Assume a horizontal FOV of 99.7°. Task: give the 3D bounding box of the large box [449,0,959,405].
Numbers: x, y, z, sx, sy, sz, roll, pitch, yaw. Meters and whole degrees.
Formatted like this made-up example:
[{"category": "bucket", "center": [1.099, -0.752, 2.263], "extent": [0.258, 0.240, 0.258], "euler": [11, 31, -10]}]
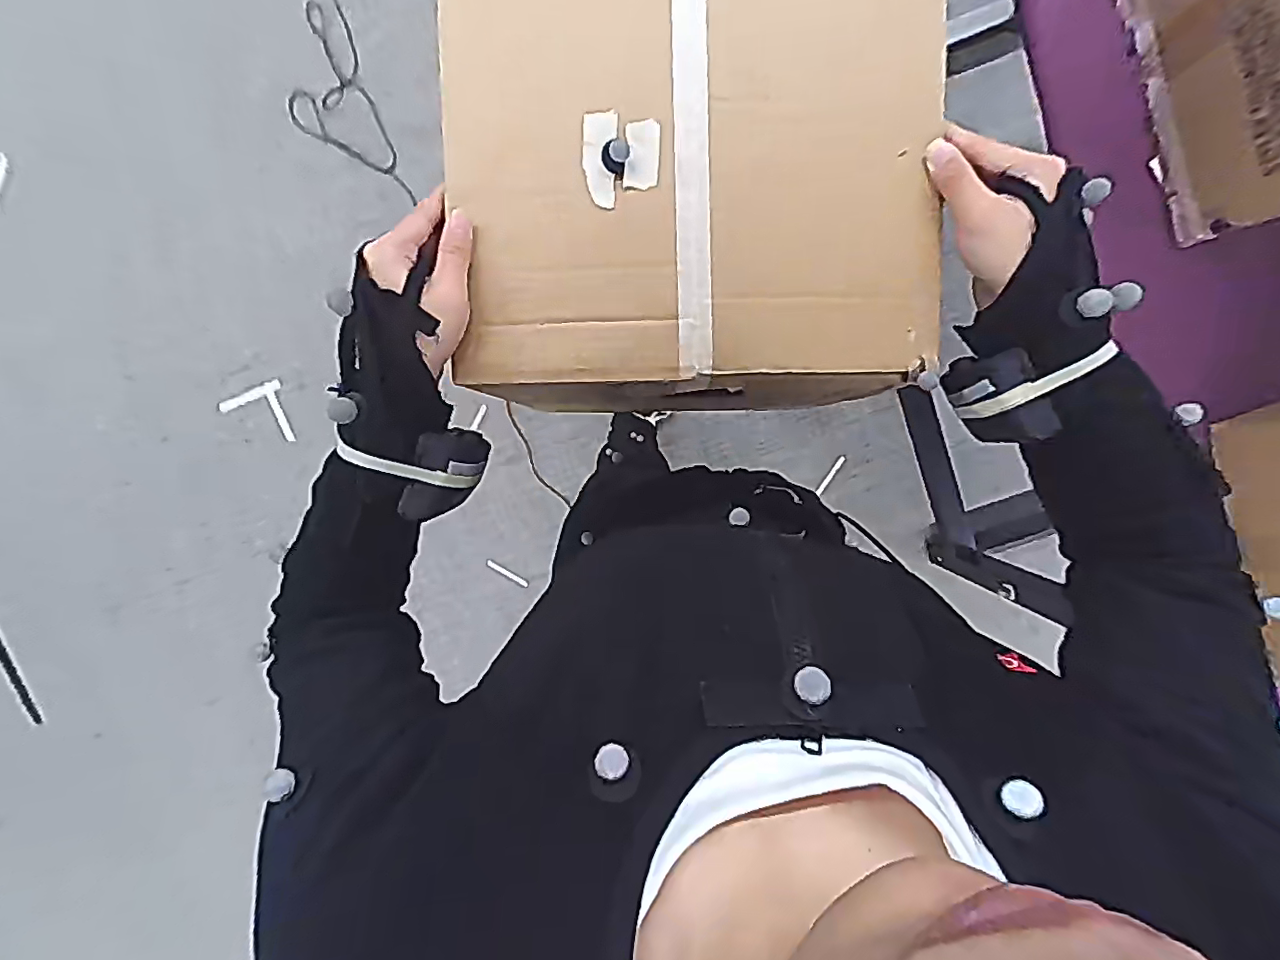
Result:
[{"category": "large box", "center": [0.039, -0.279, 0.475], "extent": [0.320, 0.320, 0.408], "euler": [-1, 95, 1]}]
